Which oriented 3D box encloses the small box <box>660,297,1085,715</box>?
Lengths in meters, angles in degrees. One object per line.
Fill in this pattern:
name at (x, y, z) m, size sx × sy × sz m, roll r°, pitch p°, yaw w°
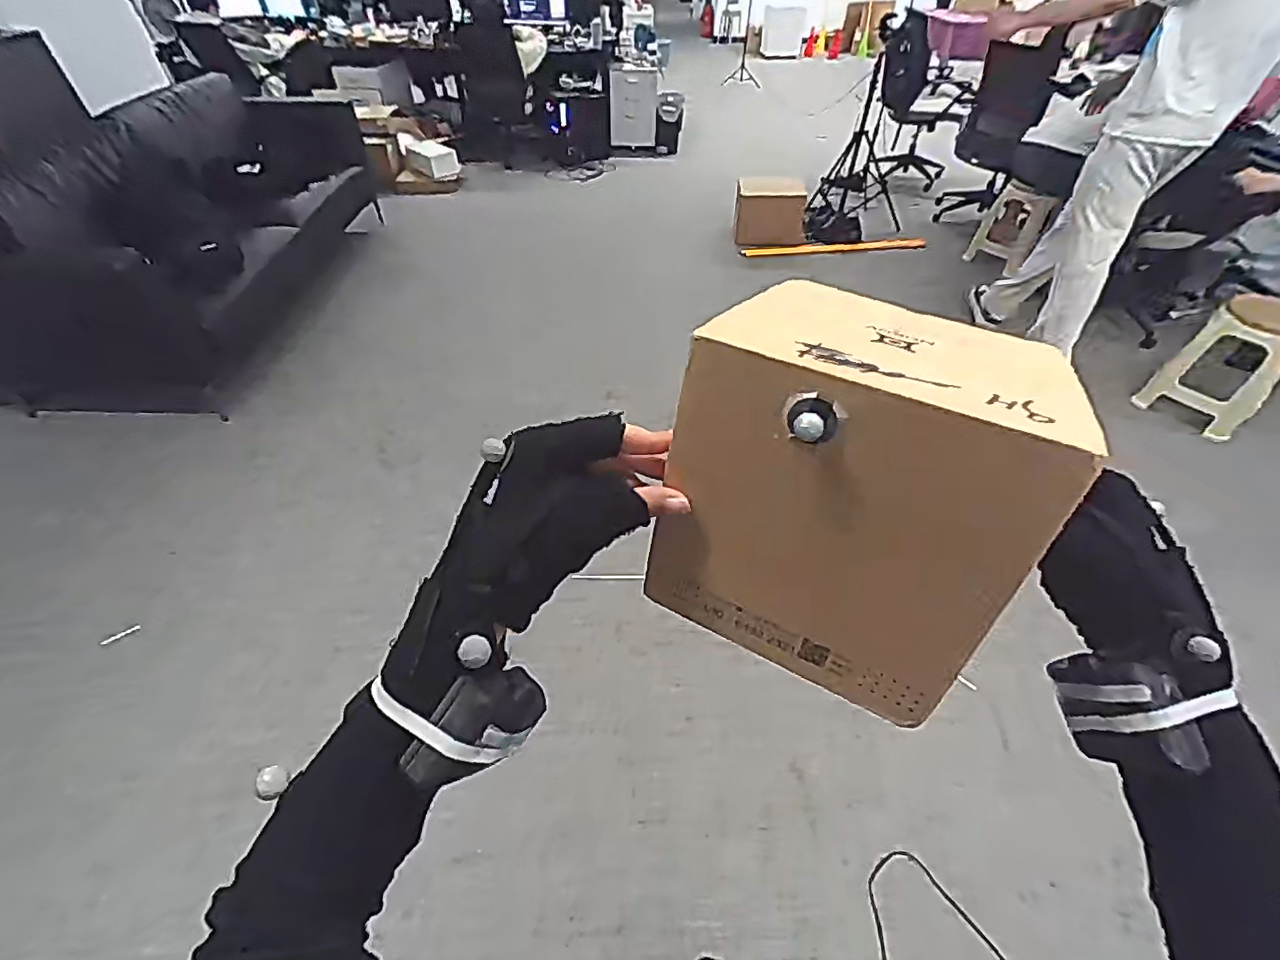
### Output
small box at (0.126, 0.000, 0.338) m, size 0.168 × 0.176 × 0.179 m, roll 22°, pitch 33°, yaw 21°
